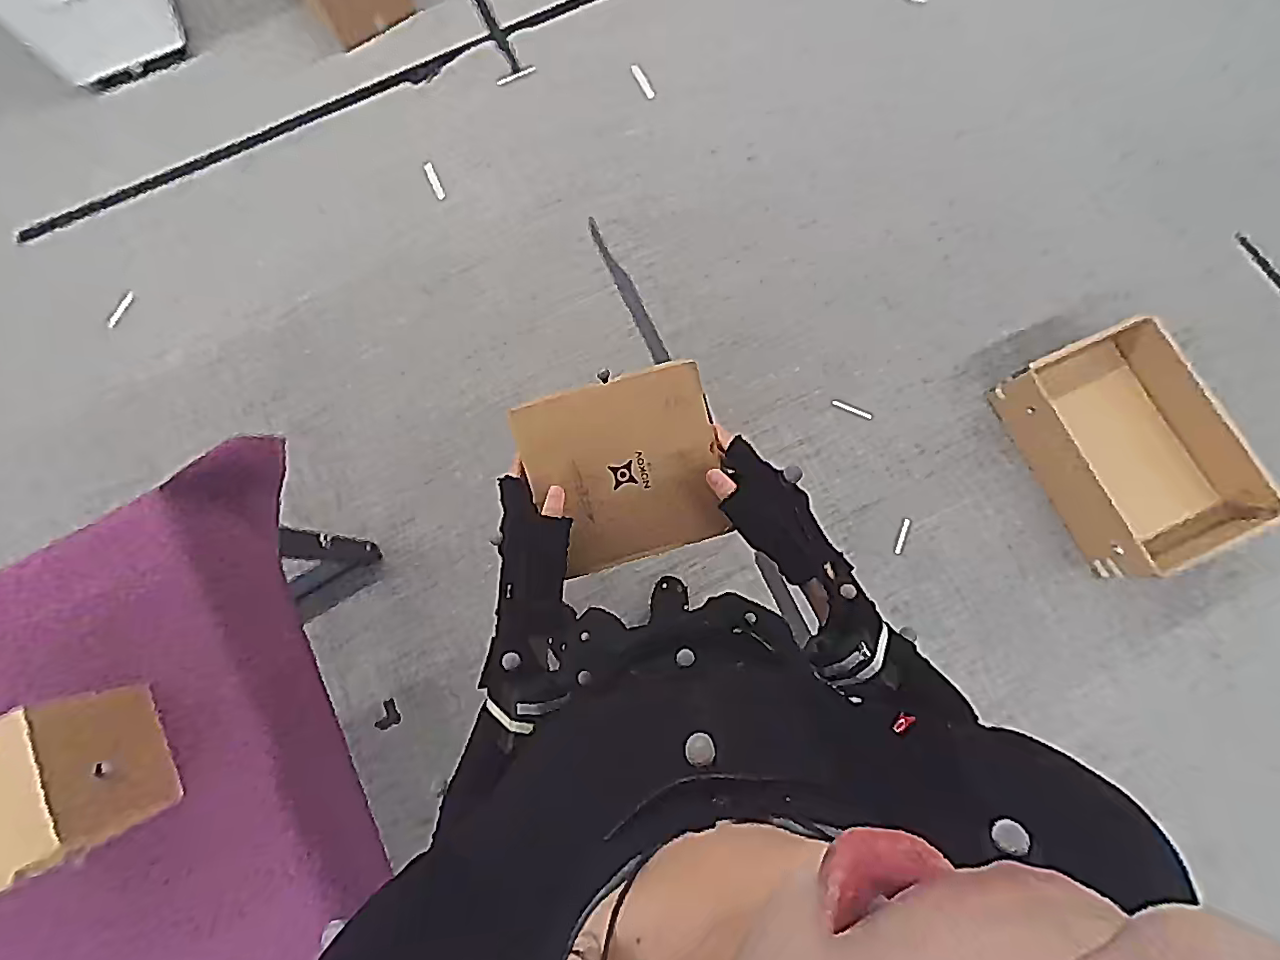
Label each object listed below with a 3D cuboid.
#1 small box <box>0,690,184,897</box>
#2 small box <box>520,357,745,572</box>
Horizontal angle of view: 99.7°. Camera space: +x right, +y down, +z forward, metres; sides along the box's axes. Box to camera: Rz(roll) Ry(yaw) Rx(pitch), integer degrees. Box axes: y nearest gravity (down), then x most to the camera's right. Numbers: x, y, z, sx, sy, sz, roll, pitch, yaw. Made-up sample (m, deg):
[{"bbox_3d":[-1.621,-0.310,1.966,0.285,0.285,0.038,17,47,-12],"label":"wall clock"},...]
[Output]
[{"bbox_3d":[-0.752,0.401,0.700,0.168,0.176,0.179,-29,80,-5],"label":"small box"},{"bbox_3d":[-0.011,-0.028,0.566,0.179,0.176,0.168,-16,102,-2],"label":"small box"}]
